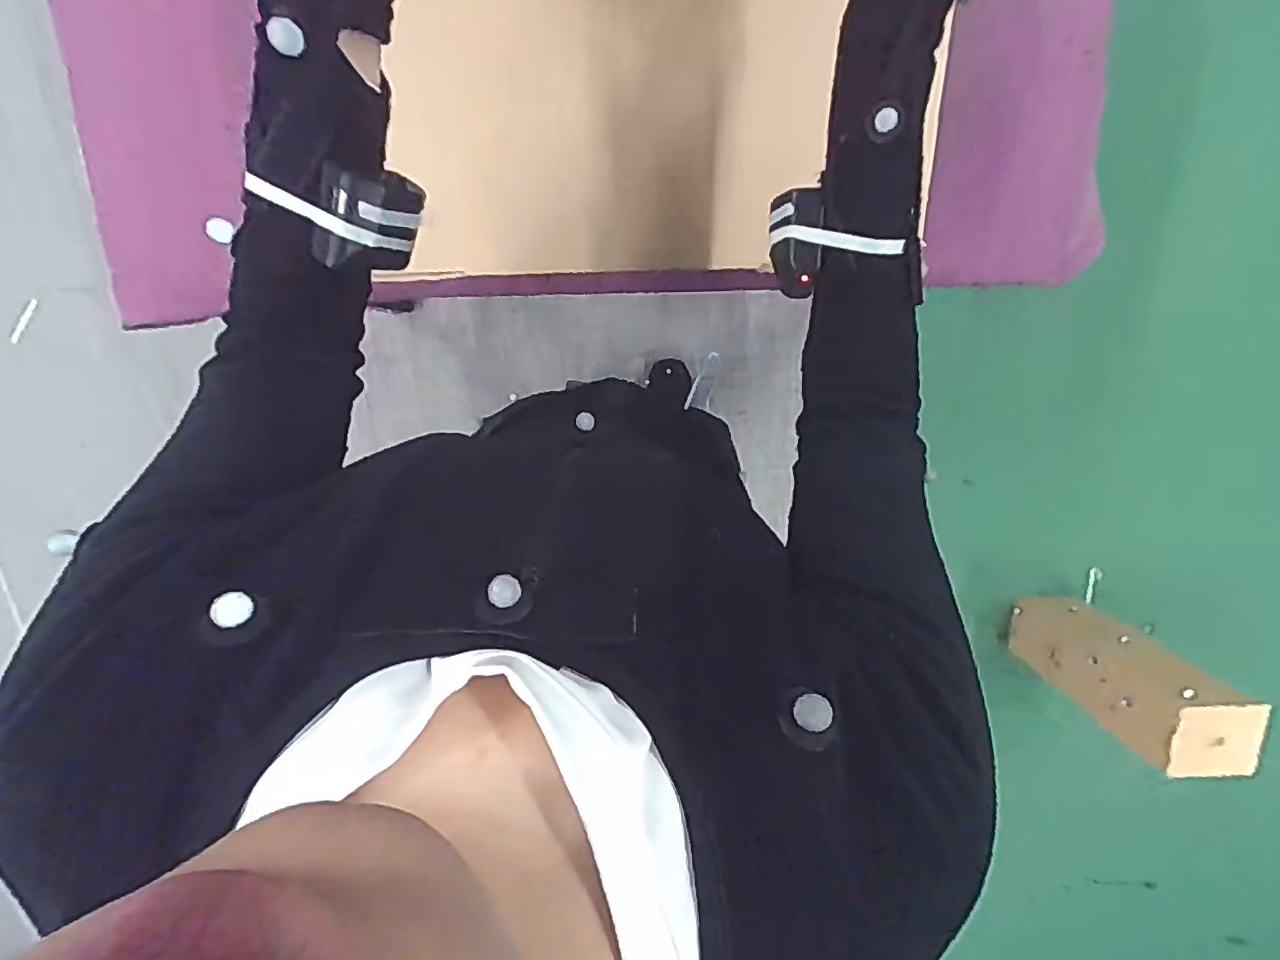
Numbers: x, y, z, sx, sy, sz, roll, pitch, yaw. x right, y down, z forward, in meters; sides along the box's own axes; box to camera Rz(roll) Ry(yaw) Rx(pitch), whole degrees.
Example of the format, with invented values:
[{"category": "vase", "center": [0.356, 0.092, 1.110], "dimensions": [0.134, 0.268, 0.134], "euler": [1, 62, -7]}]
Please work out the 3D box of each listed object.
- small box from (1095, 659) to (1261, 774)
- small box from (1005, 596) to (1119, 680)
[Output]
[{"category": "small box", "center": [1.150, 0.504, 1.171], "dimensions": [0.179, 0.176, 0.168], "euler": [-2, 104, 1]}, {"category": "small box", "center": [1.150, 0.429, 1.490], "dimensions": [0.179, 0.176, 0.168], "euler": [0, 104, 1]}]
